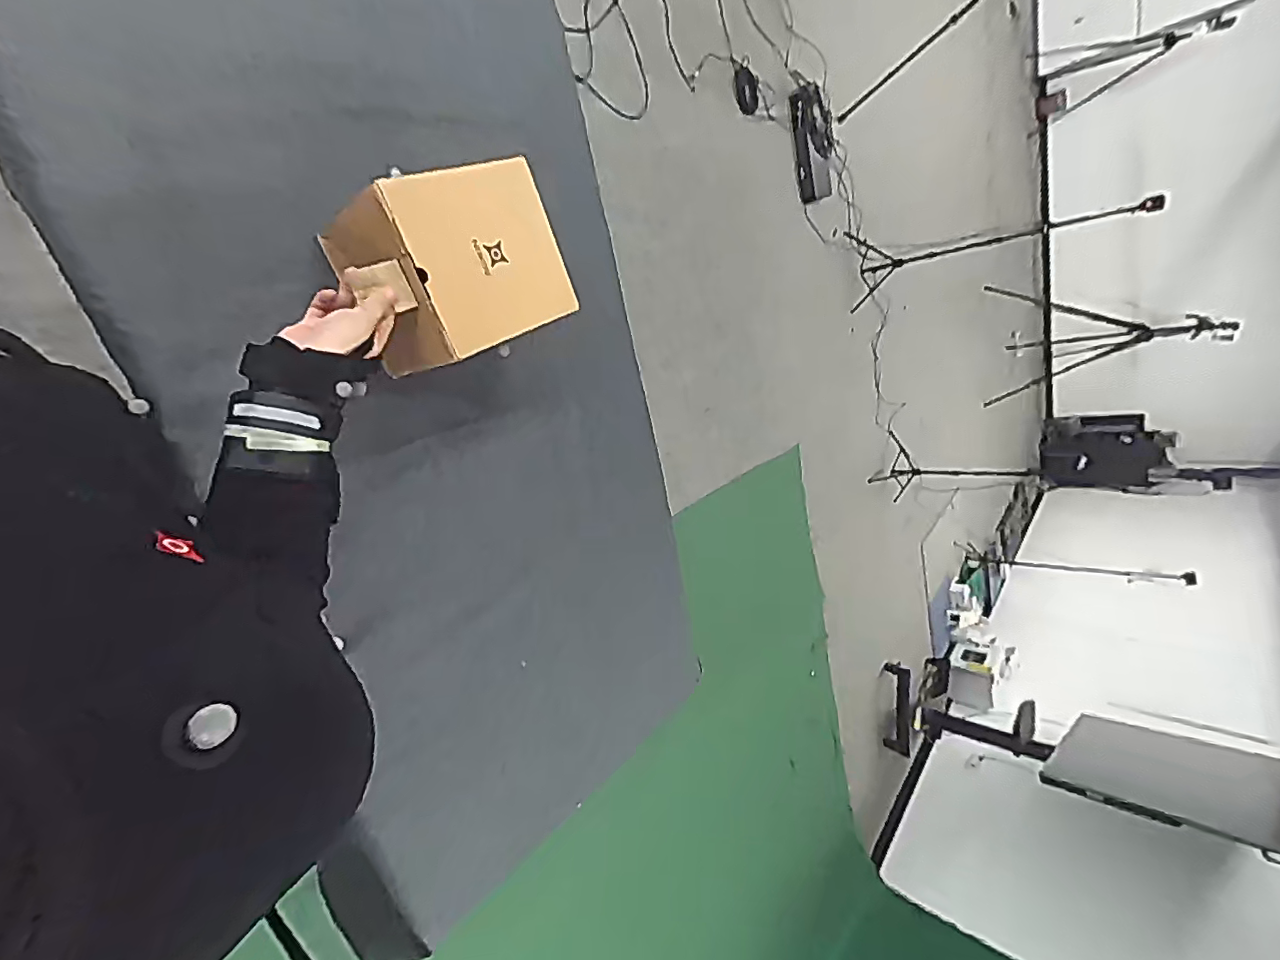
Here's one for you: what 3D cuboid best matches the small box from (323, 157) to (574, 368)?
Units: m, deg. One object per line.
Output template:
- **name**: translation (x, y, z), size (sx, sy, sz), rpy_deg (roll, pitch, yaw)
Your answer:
- **small box**: translation (-0.211, -0.236, 0.606), size (0.179, 0.176, 0.168), rpy_deg (-39, 120, -37)
